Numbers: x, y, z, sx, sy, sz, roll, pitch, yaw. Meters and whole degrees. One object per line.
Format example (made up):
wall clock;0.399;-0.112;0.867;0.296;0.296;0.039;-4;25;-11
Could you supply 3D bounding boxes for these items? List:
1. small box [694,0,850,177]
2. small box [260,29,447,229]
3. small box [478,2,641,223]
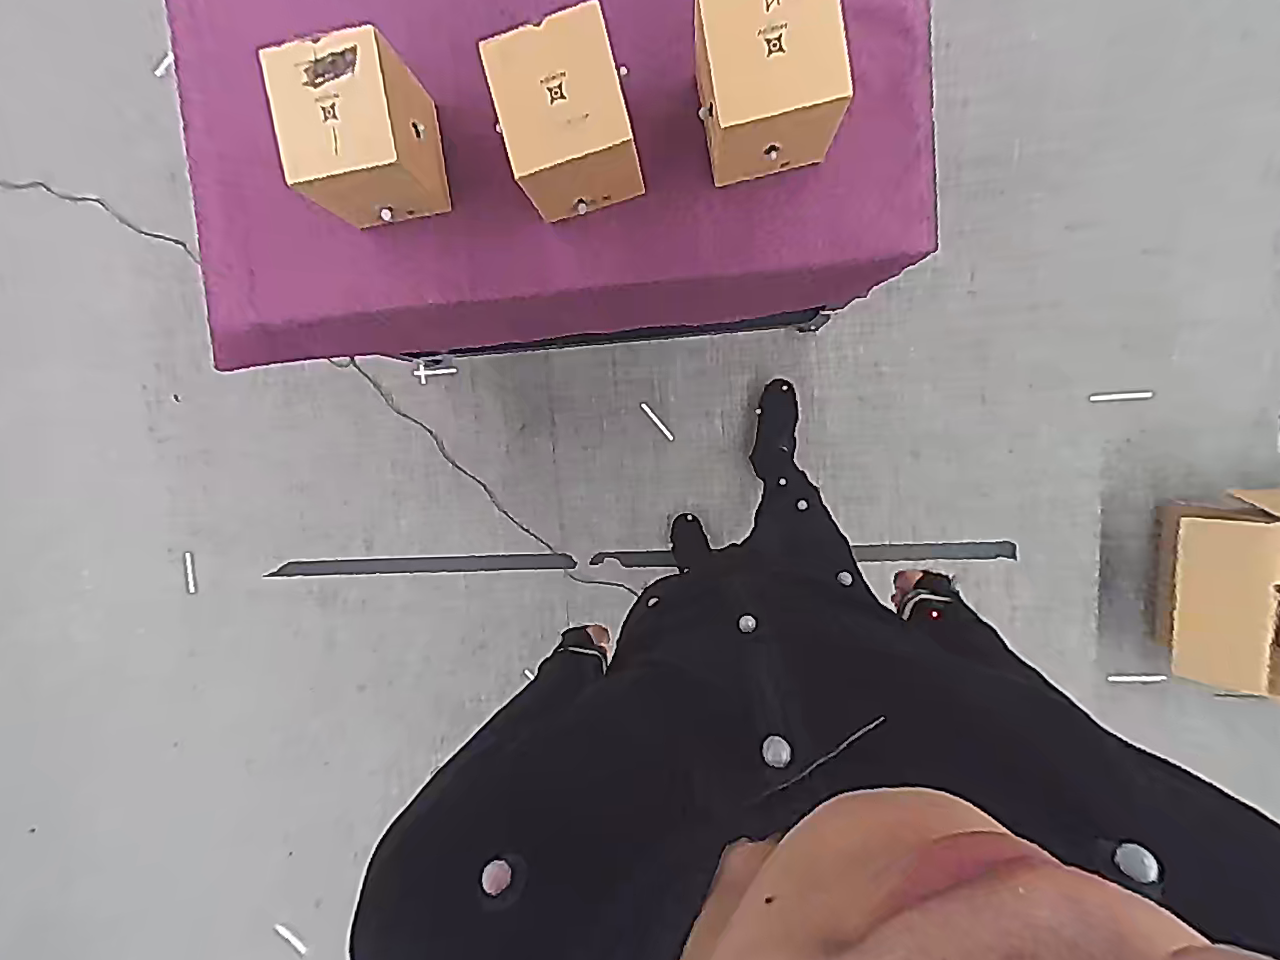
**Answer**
small box;0.169;-0.541;0.734;0.168;0.176;0.179;-10;94;6
small box;-0.407;-0.500;0.796;0.168;0.176;0.179;-8;95;6
small box;-0.103;-0.501;0.767;0.168;0.176;0.179;-14;93;8
